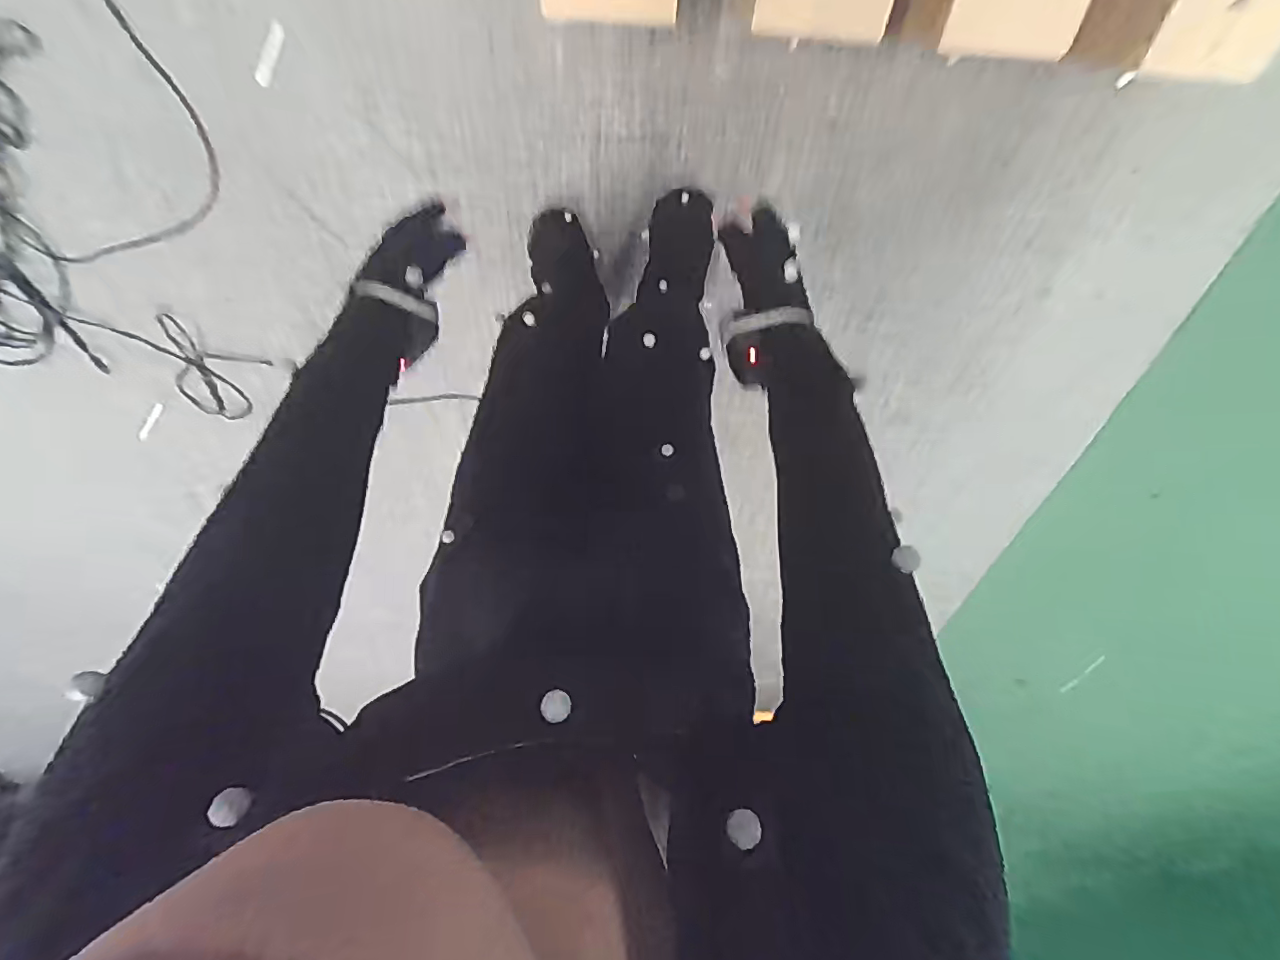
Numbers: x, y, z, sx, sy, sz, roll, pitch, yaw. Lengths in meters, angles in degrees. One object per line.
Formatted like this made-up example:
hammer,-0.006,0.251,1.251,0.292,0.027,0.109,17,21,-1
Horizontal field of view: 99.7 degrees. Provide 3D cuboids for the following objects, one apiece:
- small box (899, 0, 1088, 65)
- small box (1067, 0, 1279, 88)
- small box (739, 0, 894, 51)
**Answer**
small box,0.457,-0.651,0.688,0.168,0.176,0.179,1,132,-2
small box,0.719,-0.634,0.705,0.168,0.176,0.179,2,133,-3
small box,0.226,-0.660,0.674,0.168,0.176,0.179,3,132,-4
